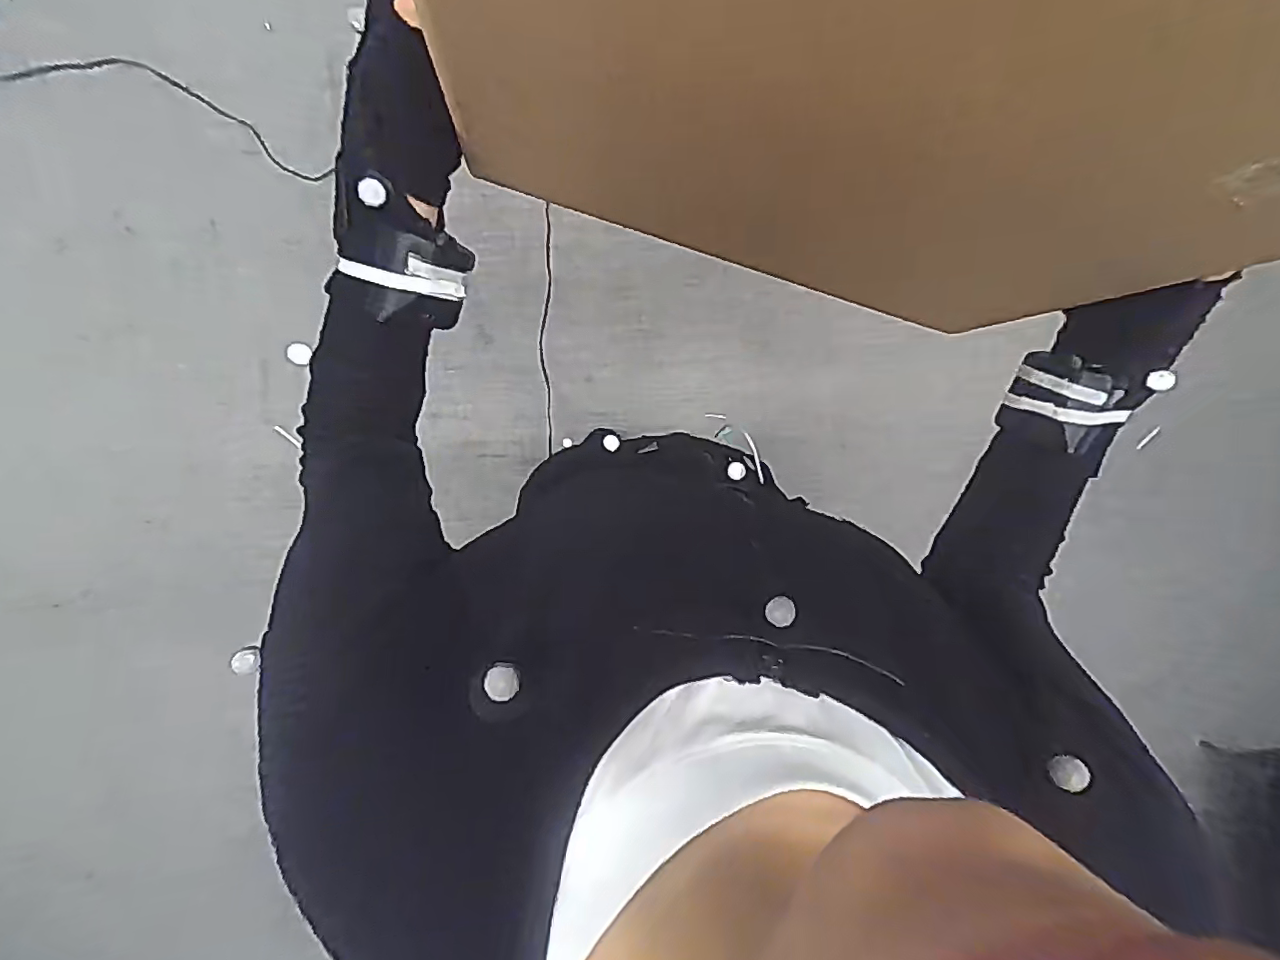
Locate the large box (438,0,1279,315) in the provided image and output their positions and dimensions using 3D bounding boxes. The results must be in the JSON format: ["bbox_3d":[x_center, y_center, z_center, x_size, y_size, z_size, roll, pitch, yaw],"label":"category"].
[{"bbox_3d":[0.133,-0.309,0.261,0.408,0.320,0.320,13,94,-11],"label":"large box"}]
